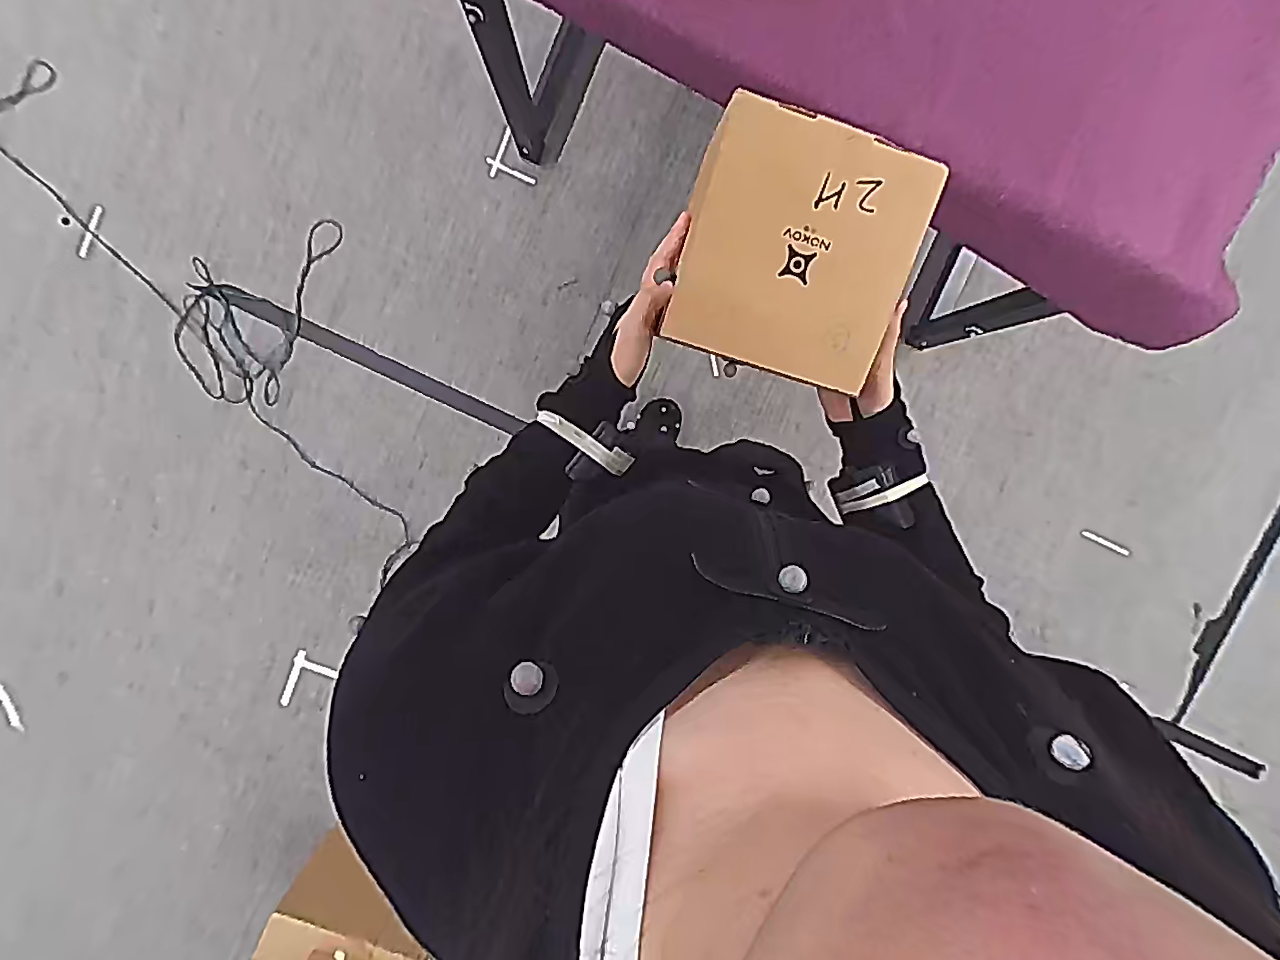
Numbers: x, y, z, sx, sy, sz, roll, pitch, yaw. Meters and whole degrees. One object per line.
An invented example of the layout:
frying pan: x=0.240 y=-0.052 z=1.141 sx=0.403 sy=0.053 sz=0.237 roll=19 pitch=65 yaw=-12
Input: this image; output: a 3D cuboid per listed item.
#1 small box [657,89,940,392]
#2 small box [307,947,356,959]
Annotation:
small box: x=0.116 y=-0.193 z=0.484 sx=0.168 sy=0.176 sz=0.179 roll=16 pitch=104 yaw=-7
small box: x=-0.733 y=1.229 z=1.222 sx=0.168 sy=0.176 sz=0.179 roll=23 pitch=94 yaw=-4
